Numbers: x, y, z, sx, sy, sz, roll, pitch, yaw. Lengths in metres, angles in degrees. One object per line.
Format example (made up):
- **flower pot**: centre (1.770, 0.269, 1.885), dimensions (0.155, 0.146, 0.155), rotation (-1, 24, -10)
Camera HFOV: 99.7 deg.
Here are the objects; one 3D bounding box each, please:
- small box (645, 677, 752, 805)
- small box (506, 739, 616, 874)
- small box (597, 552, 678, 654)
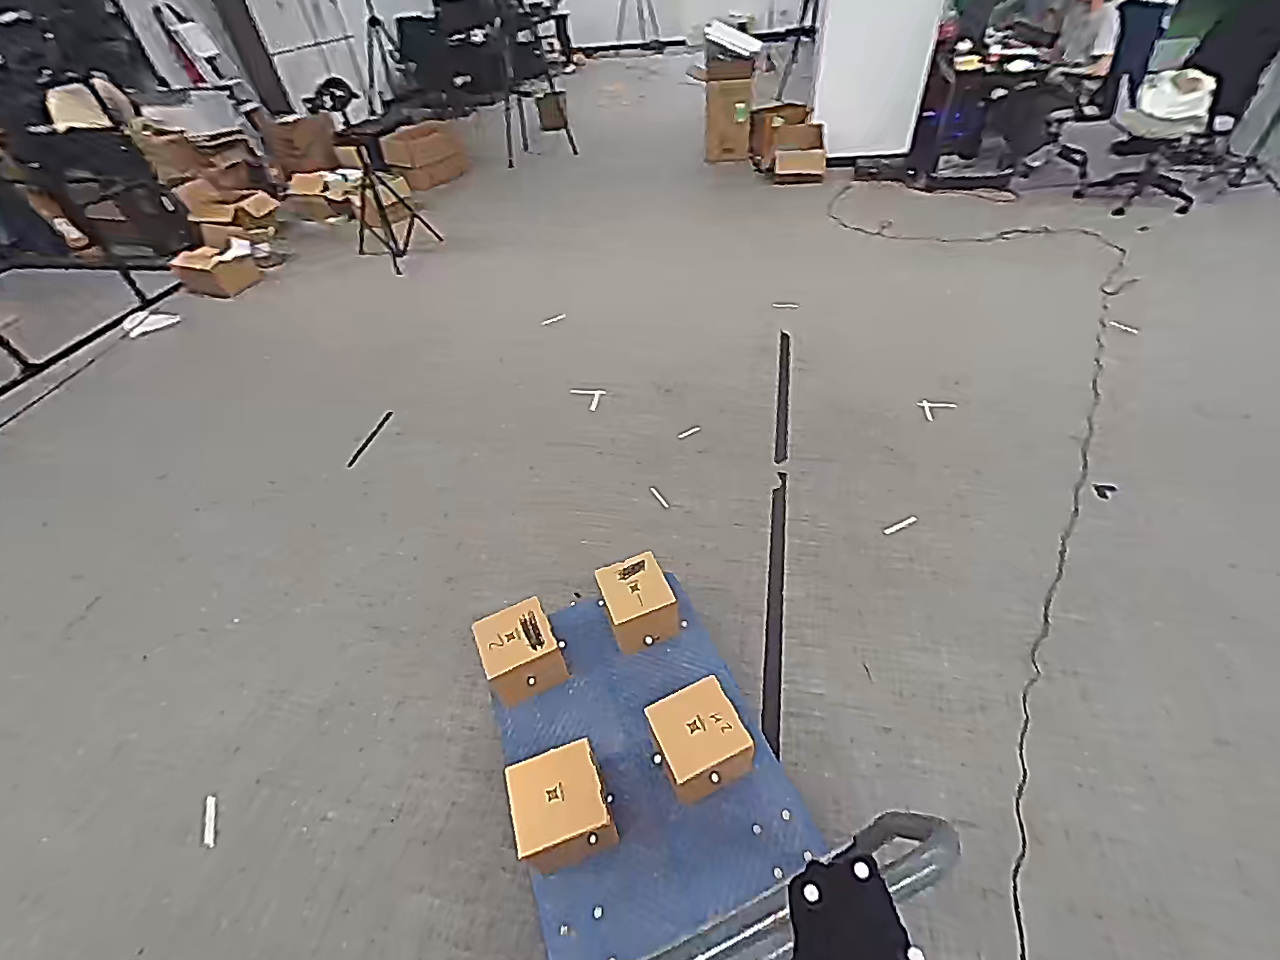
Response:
- **small box**: centre (0.126, 0.569, 1.173), dimensions (0.179, 0.176, 0.168), rotation (-20, 46, -14)
- **small box**: centre (-0.158, 0.669, 1.106), dimensions (0.179, 0.176, 0.168), rotation (-16, 45, -12)
- **small box**: centre (-0.006, 0.327, 1.431), dimensions (0.168, 0.176, 0.179), rotation (-18, 47, -12)
